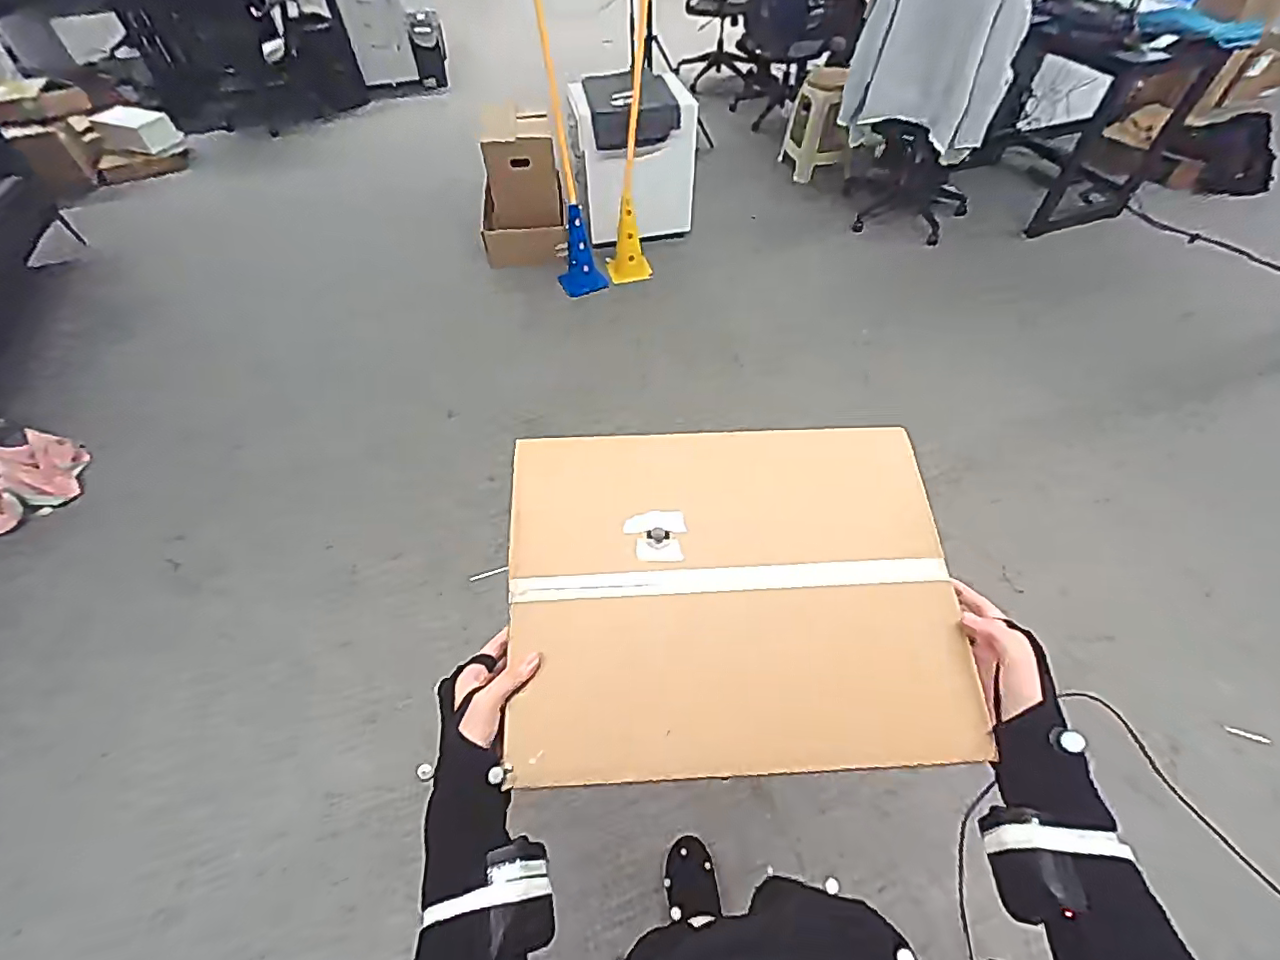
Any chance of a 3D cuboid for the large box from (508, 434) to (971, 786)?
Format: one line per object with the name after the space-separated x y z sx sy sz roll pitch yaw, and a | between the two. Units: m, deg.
0.078 0.160 0.649 0.408 0.320 0.320 -3 66 -2 | large box
